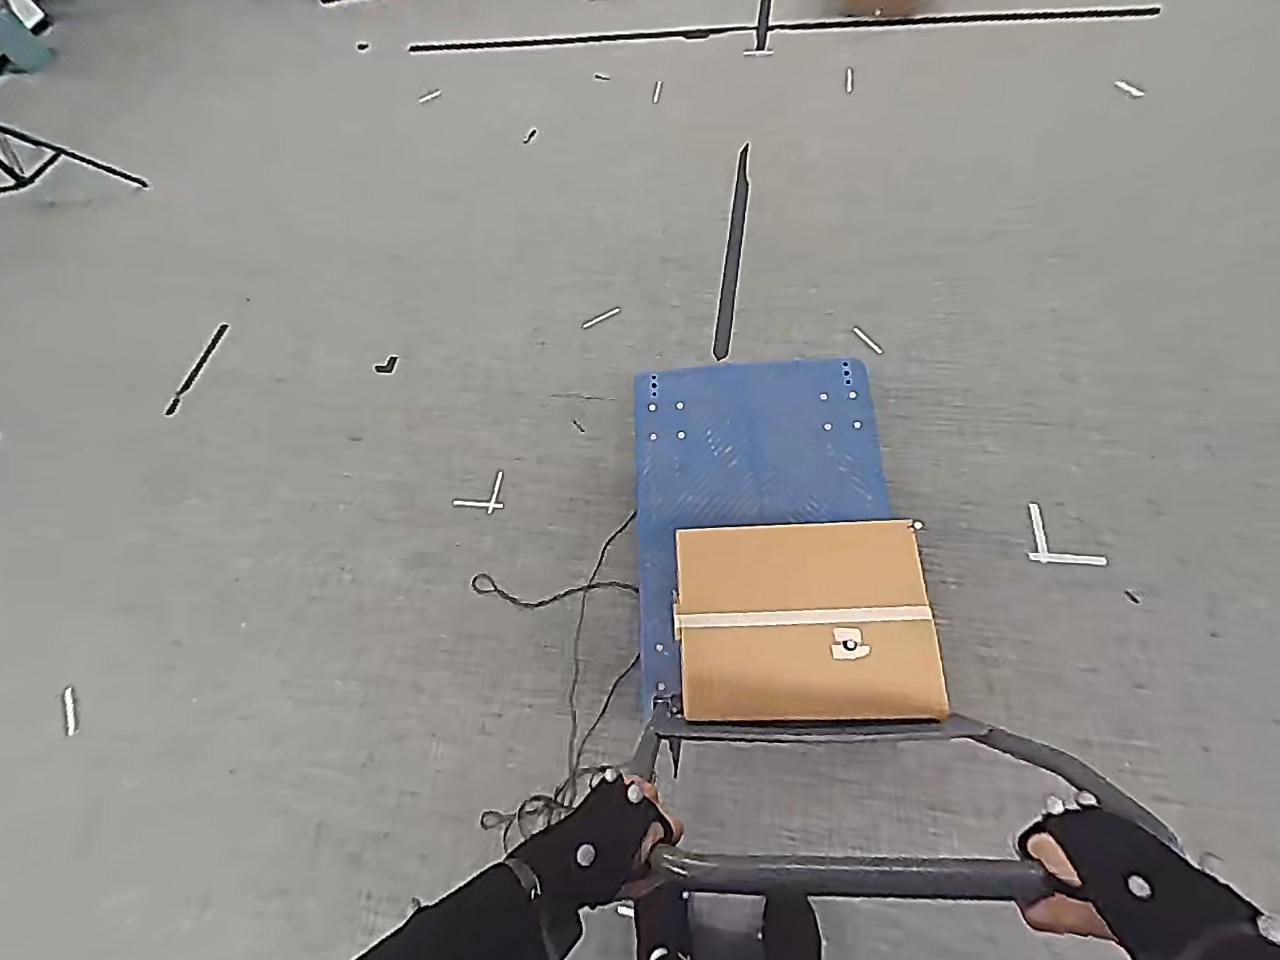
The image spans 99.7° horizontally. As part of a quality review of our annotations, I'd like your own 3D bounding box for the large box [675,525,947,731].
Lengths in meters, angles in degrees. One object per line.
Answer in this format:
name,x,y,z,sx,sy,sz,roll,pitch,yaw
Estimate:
large box,0.277,0.283,1.021,0.408,0.320,0.320,-3,71,4
